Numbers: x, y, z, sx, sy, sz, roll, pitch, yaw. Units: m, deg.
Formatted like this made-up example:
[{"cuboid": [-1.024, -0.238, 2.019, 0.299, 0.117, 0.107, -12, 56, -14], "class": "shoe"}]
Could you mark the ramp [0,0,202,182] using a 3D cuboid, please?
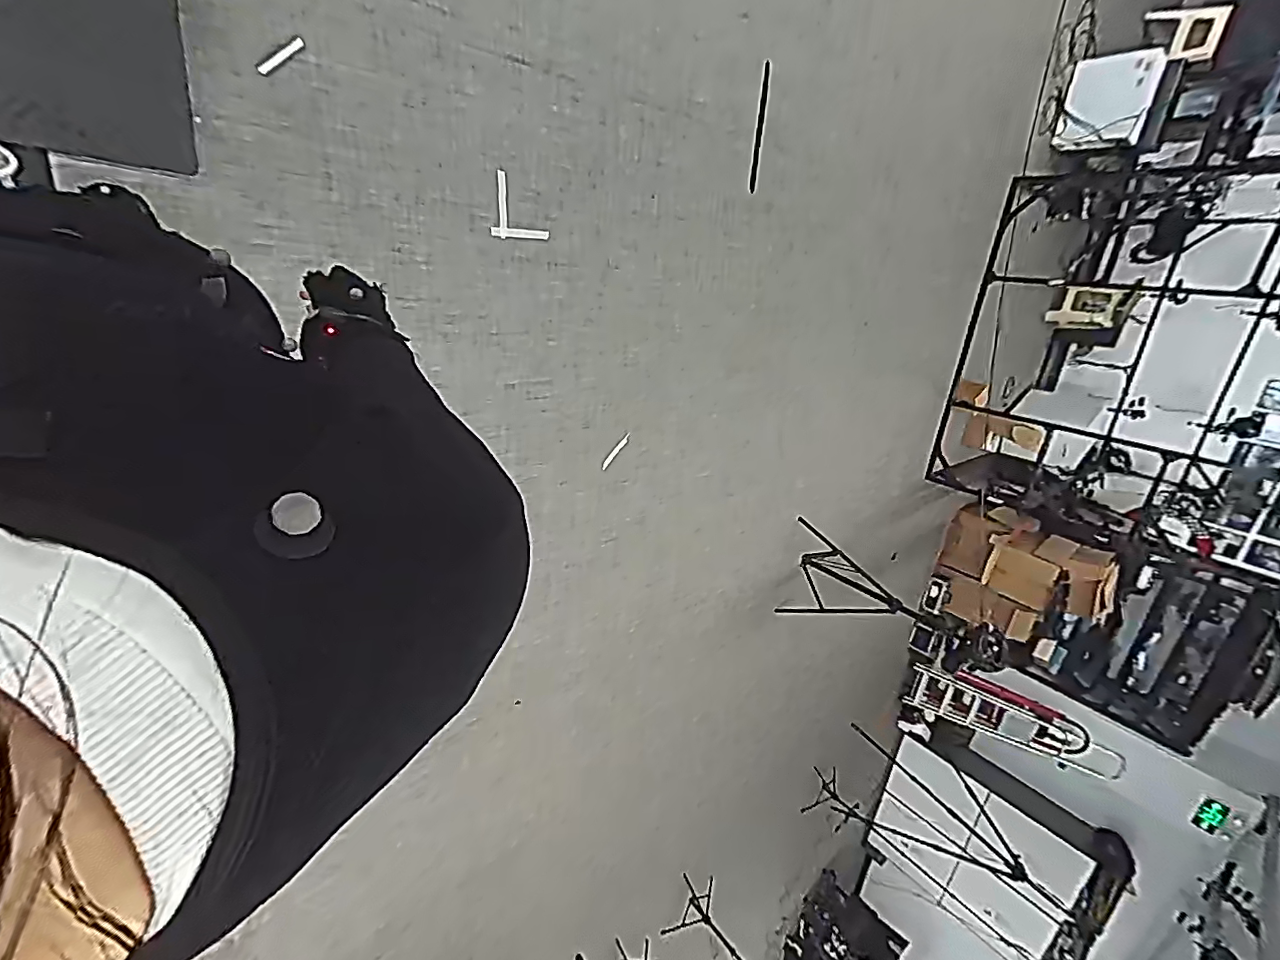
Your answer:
[{"cuboid": [-0.934, -0.970, 0.676, 0.509, 0.206, 0.991, -14, 118, -39], "class": "ramp"}]
